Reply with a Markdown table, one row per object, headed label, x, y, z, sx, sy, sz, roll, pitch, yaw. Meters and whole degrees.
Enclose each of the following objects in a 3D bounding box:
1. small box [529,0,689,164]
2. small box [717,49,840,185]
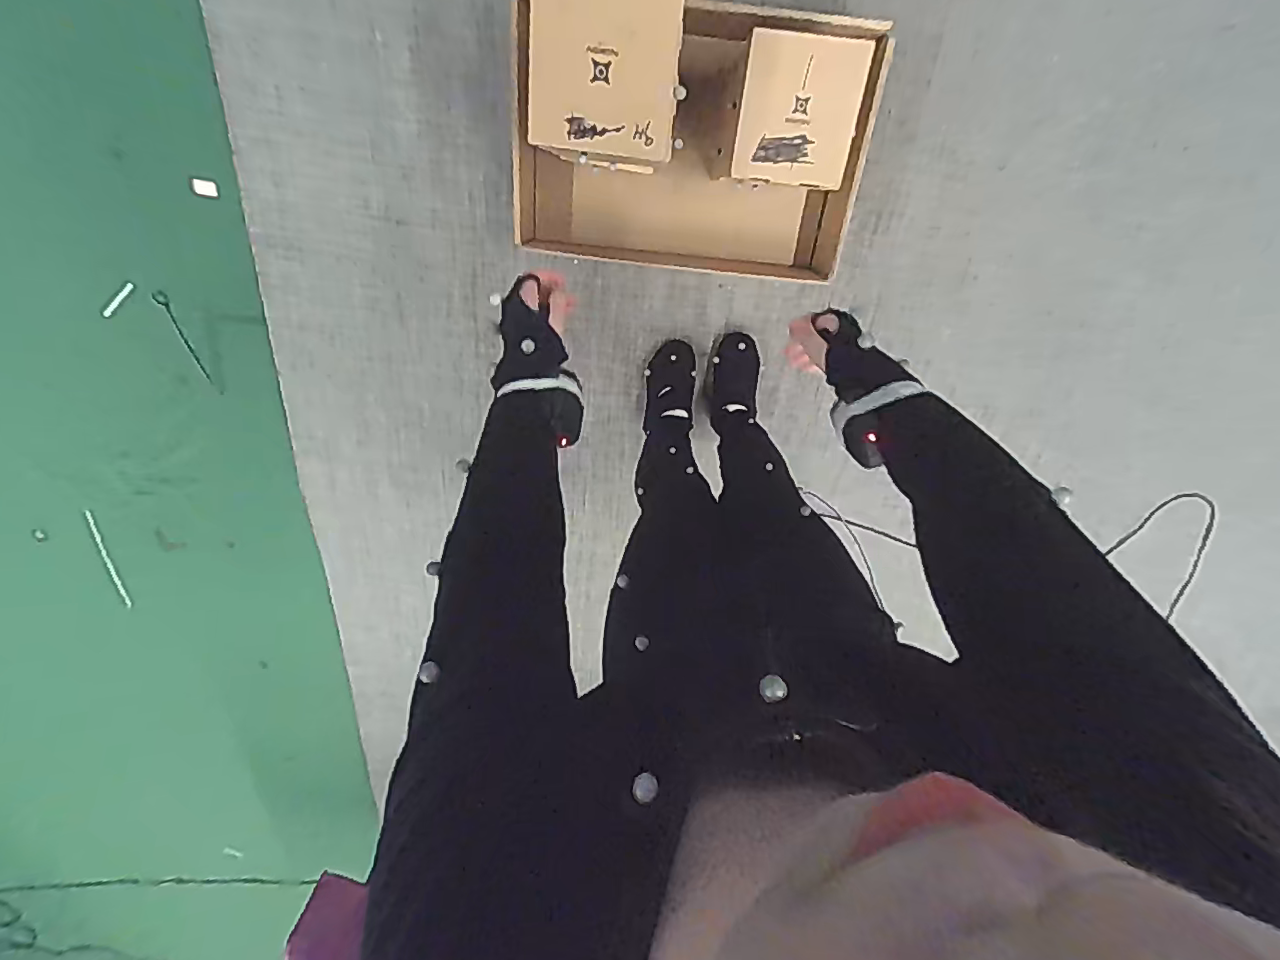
| label | x | y | z | sx | sy | sz | roll | pitch | yaw |
| --- | --- | --- | --- | --- | --- | --- | --- | --- | --- |
| small box | -0.036 | -0.505 | 0.668 | 0.168 | 0.176 | 0.179 | 7 | 118 | -2 |
| small box | 0.232 | -0.634 | 0.961 | 0.168 | 0.176 | 0.179 | 5 | 119 | -1 |
